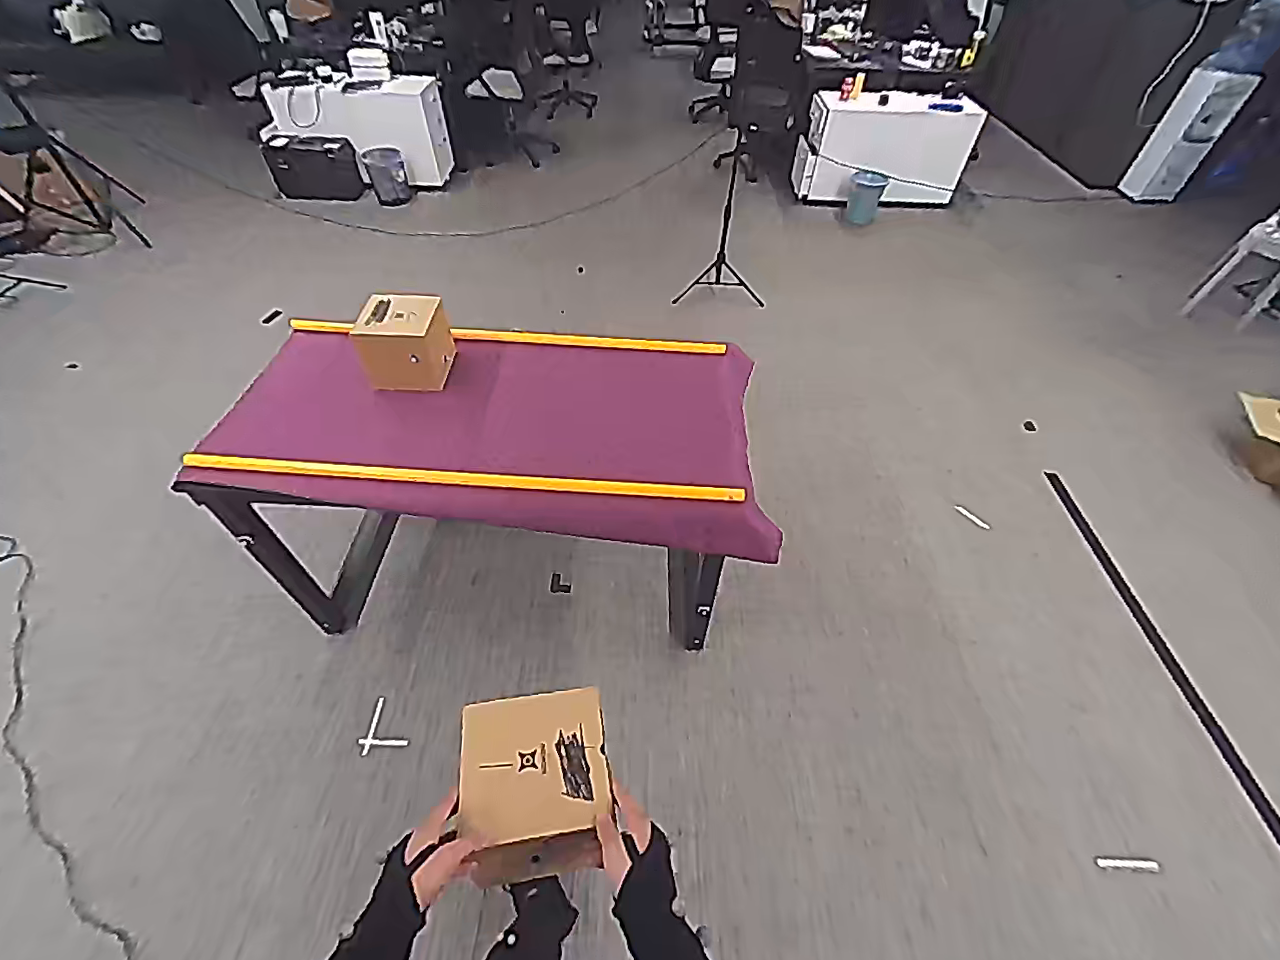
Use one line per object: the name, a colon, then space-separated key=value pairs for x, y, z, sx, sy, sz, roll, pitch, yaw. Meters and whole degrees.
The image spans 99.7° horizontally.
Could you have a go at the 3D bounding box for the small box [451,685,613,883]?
small box: x=-0.132 y=0.389 z=0.695 sx=0.179 sy=0.176 sz=0.168 roll=-5 pitch=42 yaw=-9
